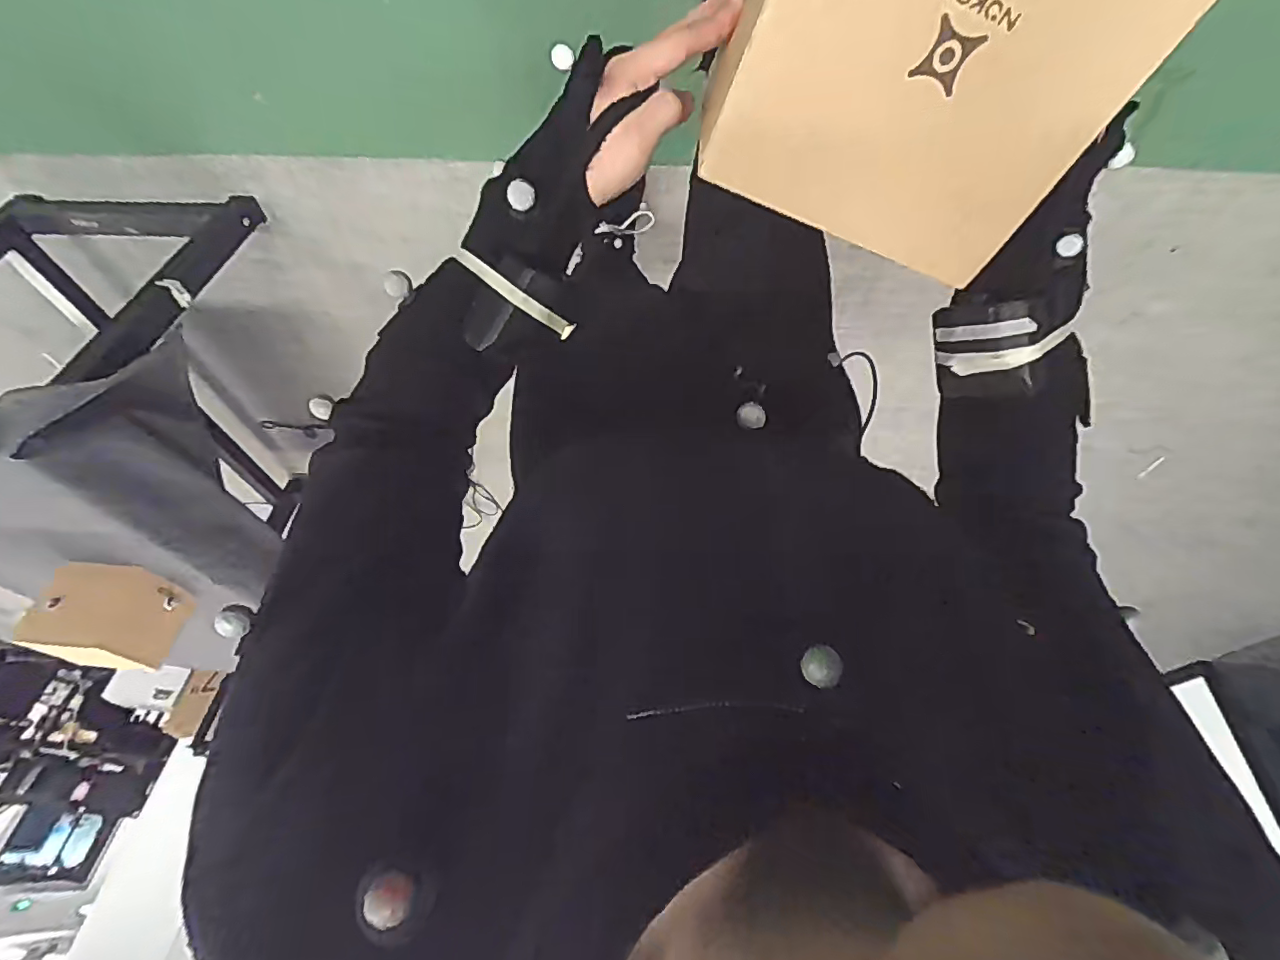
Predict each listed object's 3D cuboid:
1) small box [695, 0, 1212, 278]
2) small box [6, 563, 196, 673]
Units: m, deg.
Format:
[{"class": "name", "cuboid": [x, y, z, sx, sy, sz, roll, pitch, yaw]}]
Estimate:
[{"class": "small box", "cuboid": [0.140, -0.246, 0.278, 0.168, 0.176, 0.179, 18, 135, -10]}, {"class": "small box", "cuboid": [-1.069, 0.278, 1.093, 0.179, 0.176, 0.168, 3, 146, 3]}]
